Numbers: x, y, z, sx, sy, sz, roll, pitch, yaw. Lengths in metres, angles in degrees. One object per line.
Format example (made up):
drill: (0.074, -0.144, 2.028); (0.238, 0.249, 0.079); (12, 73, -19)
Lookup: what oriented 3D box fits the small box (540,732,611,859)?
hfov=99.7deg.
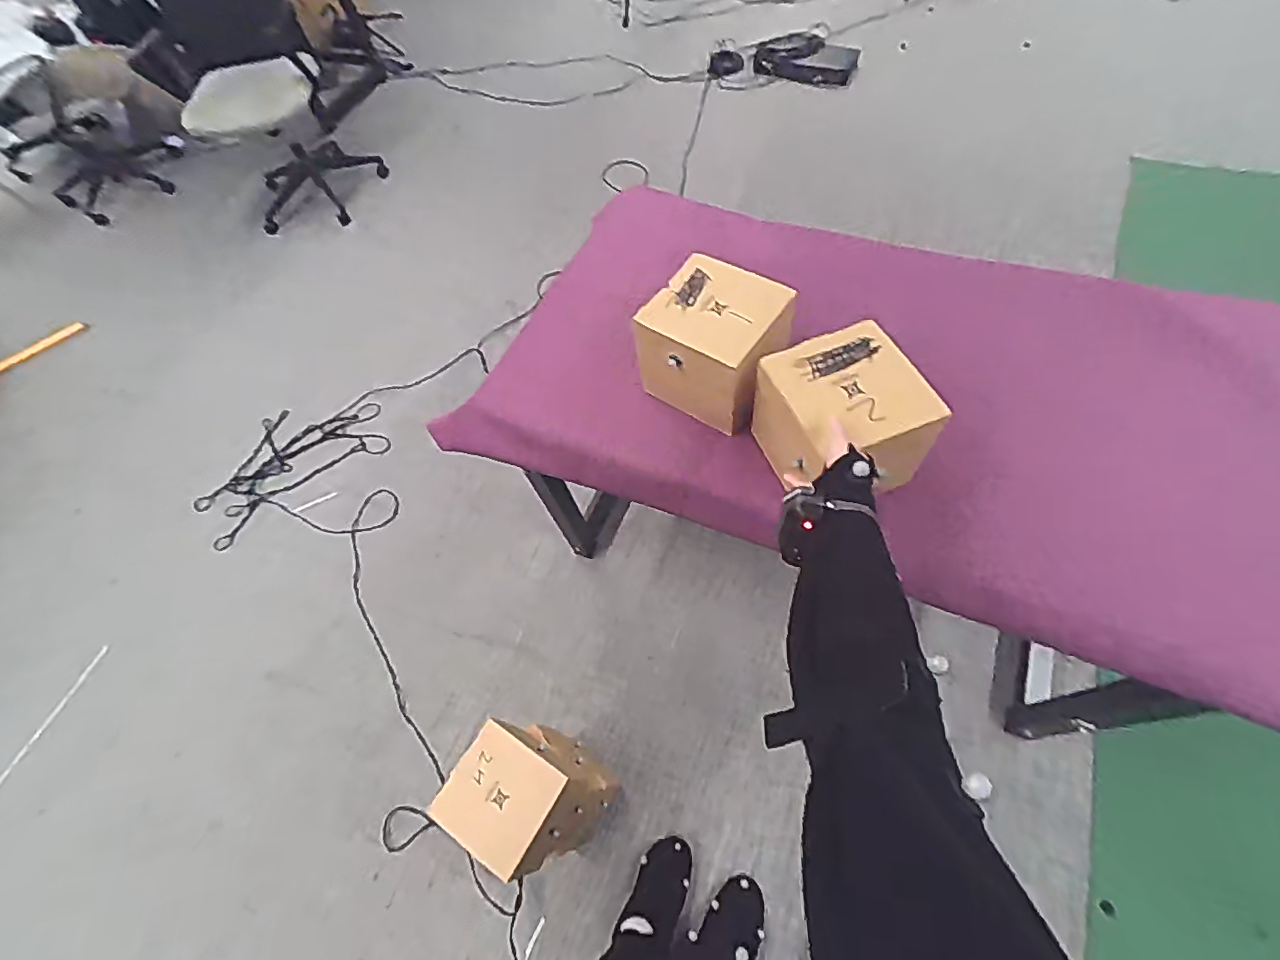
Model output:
small box: (-0.180, 0.698, 1.211); (0.168, 0.176, 0.179); (34, 71, 24)

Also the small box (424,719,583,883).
small box: (-0.221, 0.540, 0.928); (0.179, 0.176, 0.168); (26, 66, 22)
